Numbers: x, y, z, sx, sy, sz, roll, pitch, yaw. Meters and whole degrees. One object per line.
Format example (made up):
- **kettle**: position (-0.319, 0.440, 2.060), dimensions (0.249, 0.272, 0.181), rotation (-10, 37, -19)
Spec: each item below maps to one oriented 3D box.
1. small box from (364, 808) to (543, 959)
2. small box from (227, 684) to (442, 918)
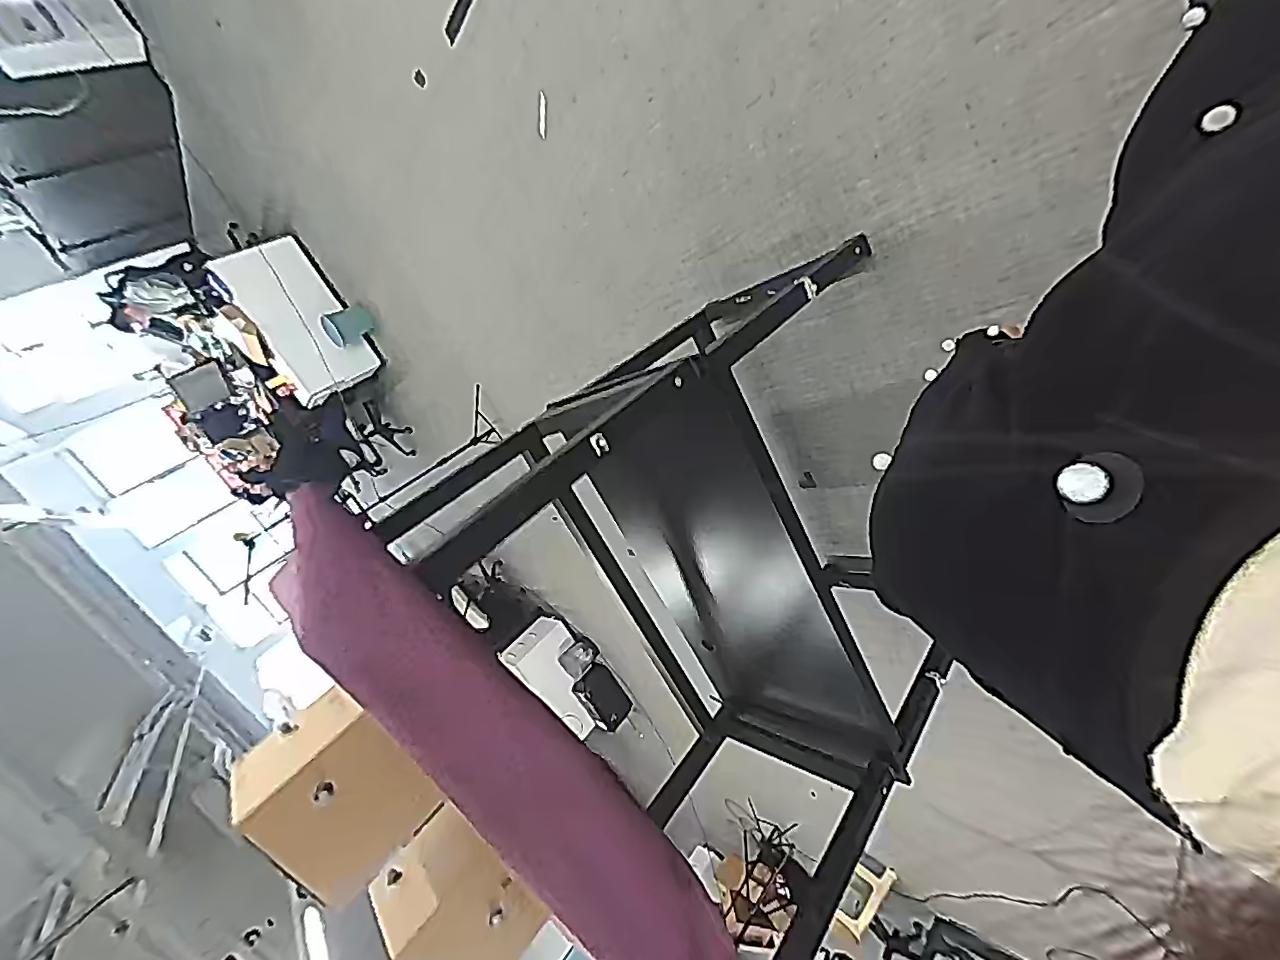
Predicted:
- **small box**: position (-0.277, 0.639, 0.812), dimensions (0.179, 0.176, 0.168), rotation (-7, 119, 54)
- **small box**: position (-0.400, 0.405, 0.715), dimensions (0.168, 0.176, 0.179), rotation (-1, 124, 53)
